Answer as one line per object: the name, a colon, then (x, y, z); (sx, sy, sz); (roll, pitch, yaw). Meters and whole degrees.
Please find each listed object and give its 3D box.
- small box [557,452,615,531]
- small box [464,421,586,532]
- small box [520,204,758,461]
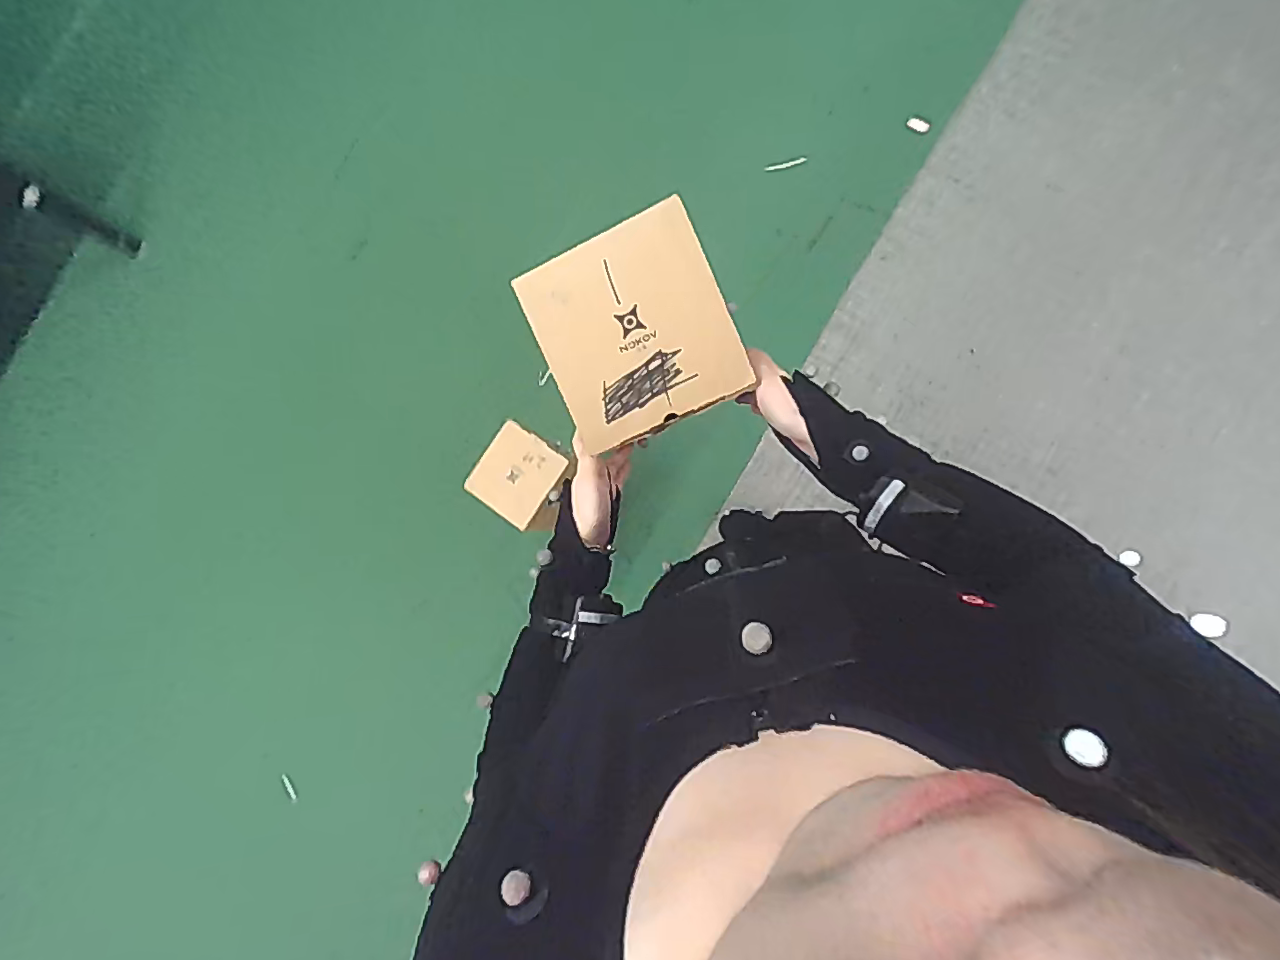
small box: (-0.191, 0.026, 1.510); (0.179, 0.176, 0.168); (31, 91, 12)
small box: (-0.241, -0.002, 1.186); (0.168, 0.176, 0.179); (34, 92, 10)
small box: (0.009, -0.137, 0.550); (0.168, 0.176, 0.179); (-22, 95, 10)
